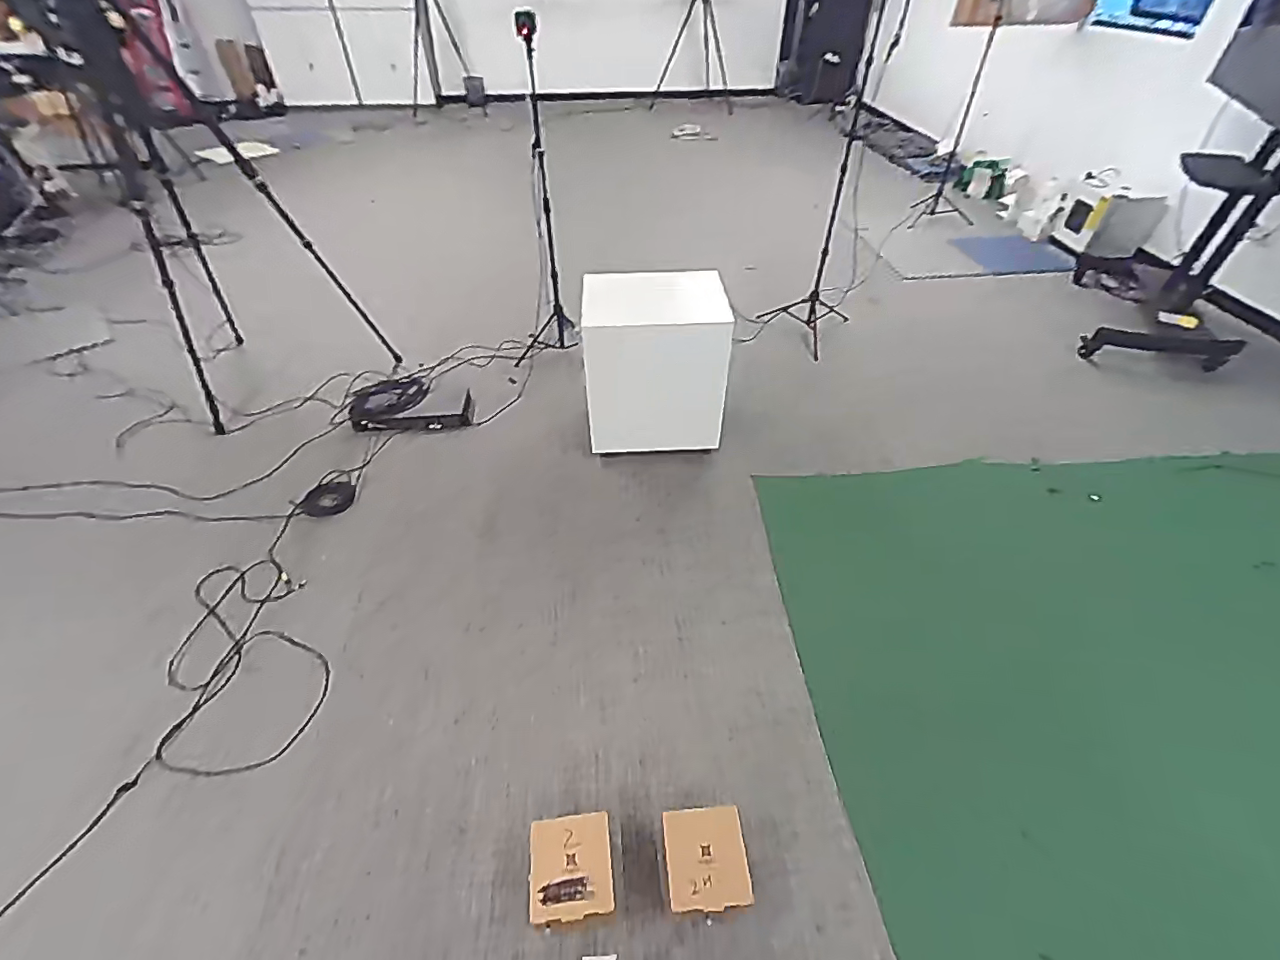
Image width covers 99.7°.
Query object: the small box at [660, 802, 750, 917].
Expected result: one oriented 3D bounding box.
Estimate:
[{"bbox_3d":[0.132,0.828,1.180,0.168,0.176,0.179,-3,45,-2],"label":"small box"}]
